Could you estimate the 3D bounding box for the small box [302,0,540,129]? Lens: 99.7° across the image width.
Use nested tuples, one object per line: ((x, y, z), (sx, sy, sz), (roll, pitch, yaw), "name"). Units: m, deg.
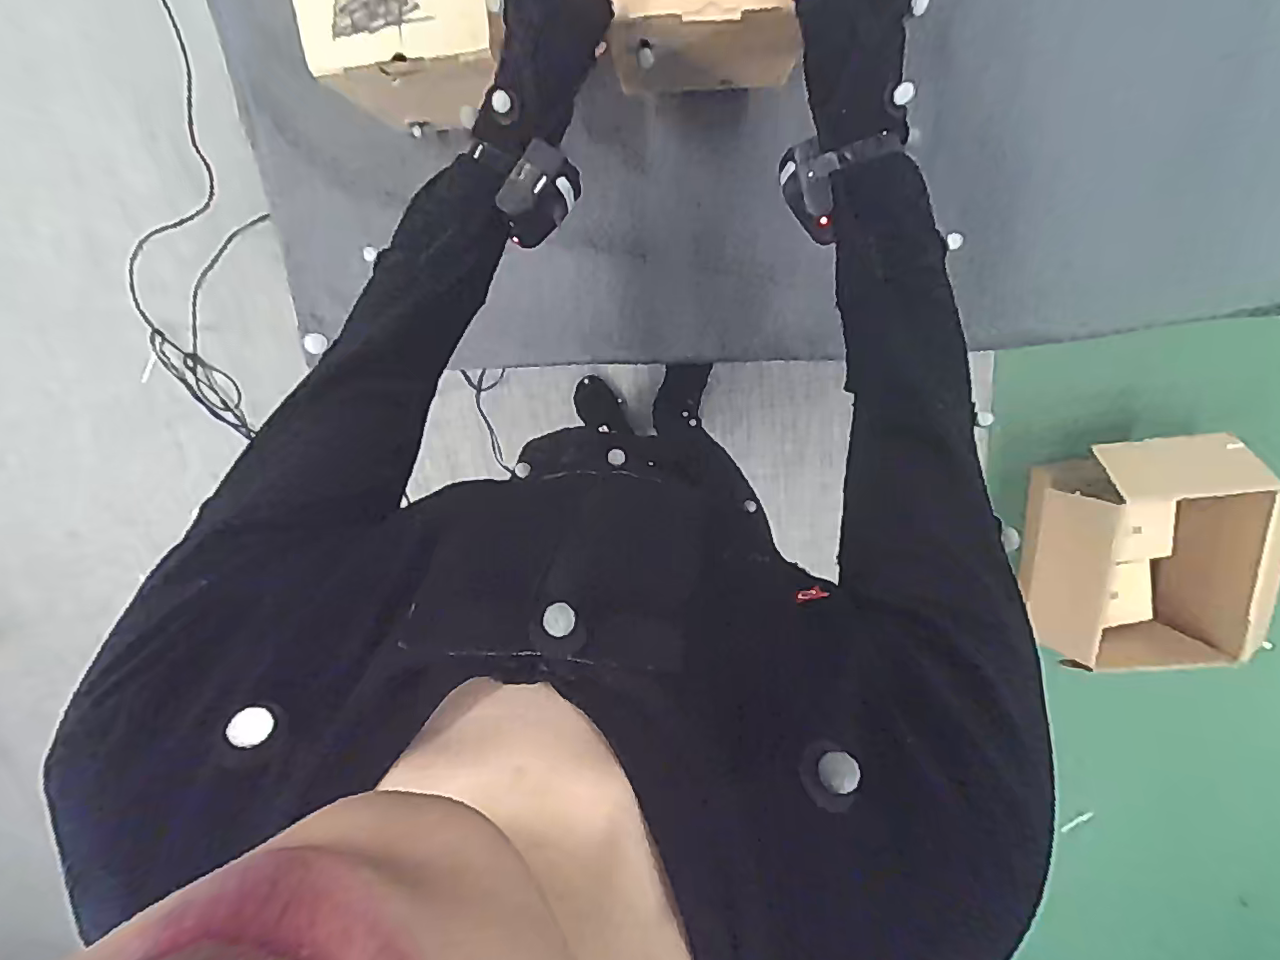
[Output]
((-0.201, -0.461, 0.520), (0.168, 0.176, 0.179), (-2, 106, 4), "small box")
